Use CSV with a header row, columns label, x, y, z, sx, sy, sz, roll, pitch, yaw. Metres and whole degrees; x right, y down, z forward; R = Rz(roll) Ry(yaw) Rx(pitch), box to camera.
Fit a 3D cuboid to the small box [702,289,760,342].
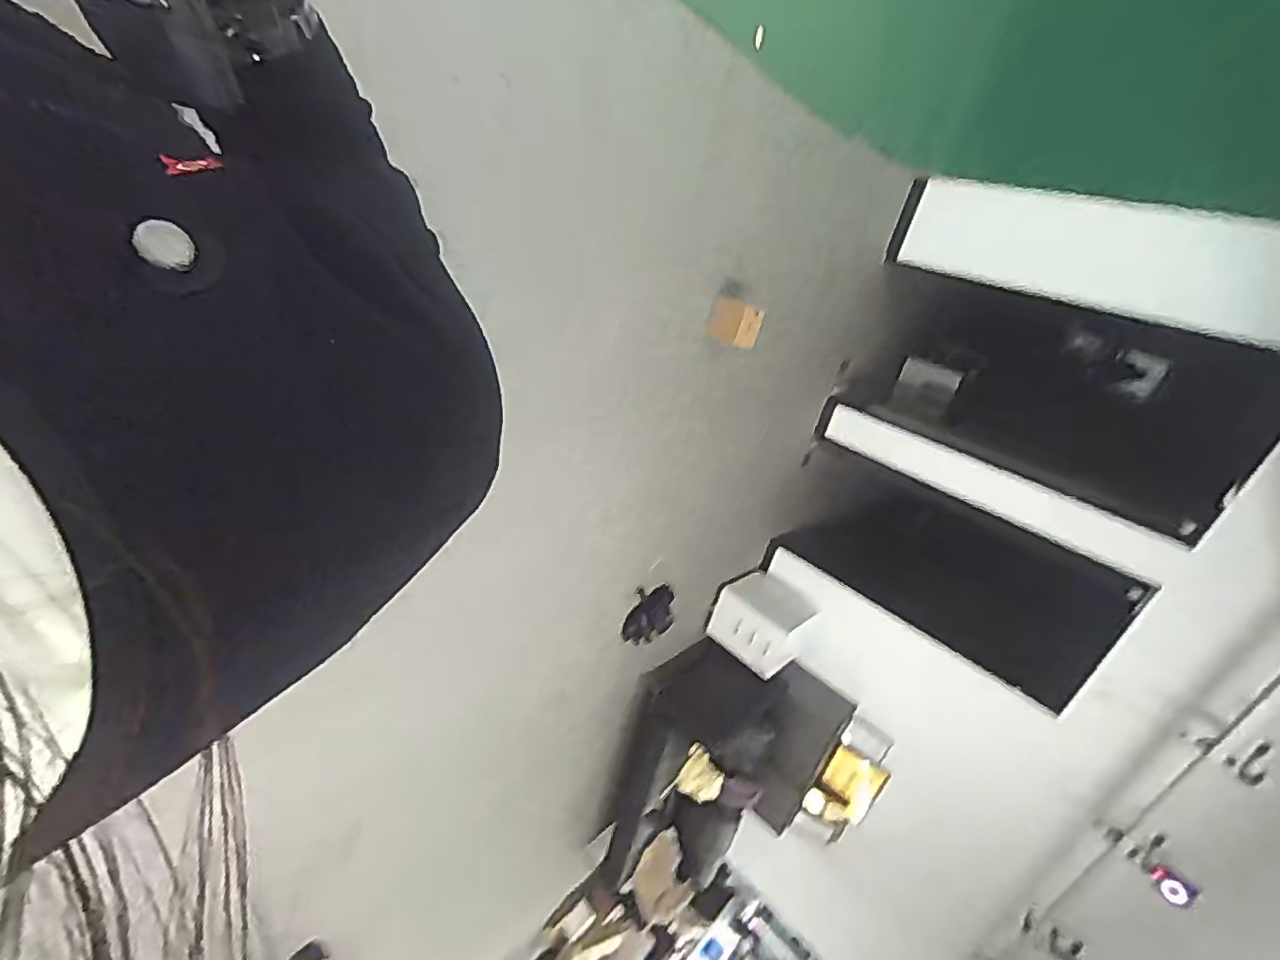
label,x,y,z,sx,sy,sz,roll,pitch,yaw
small box,0.401,-0.733,2.414,0.168,0.176,0.179,-8,123,-49
